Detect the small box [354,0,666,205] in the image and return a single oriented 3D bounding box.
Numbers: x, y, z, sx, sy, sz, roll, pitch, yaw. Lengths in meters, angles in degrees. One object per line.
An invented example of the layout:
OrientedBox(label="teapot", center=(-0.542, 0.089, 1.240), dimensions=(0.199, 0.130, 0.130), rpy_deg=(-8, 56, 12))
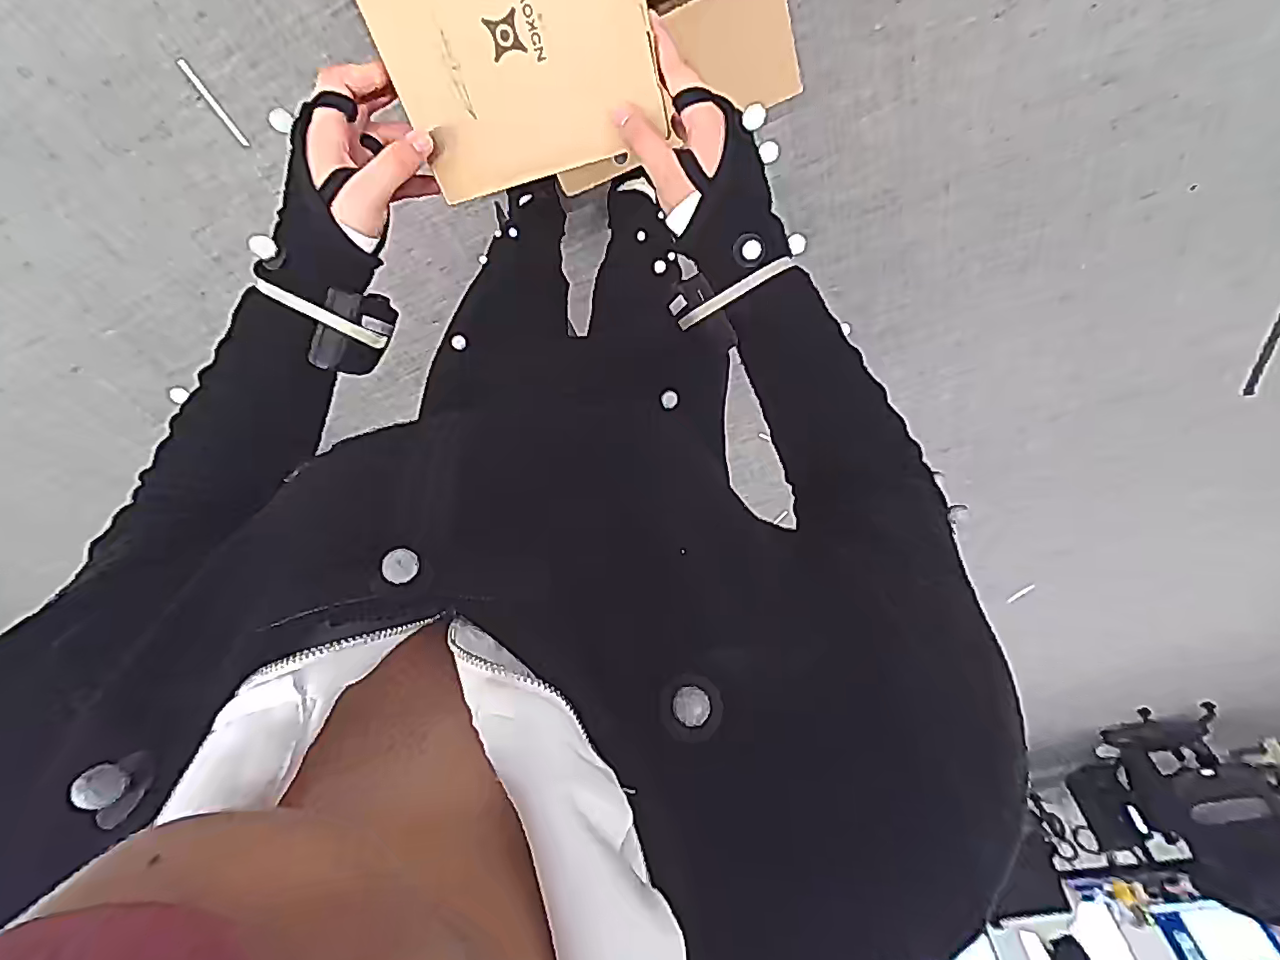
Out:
OrientedBox(label="small box", center=(-0.084, -0.337, 0.411), dimensions=(0.179, 0.176, 0.168), rpy_deg=(-11, 127, 11))
